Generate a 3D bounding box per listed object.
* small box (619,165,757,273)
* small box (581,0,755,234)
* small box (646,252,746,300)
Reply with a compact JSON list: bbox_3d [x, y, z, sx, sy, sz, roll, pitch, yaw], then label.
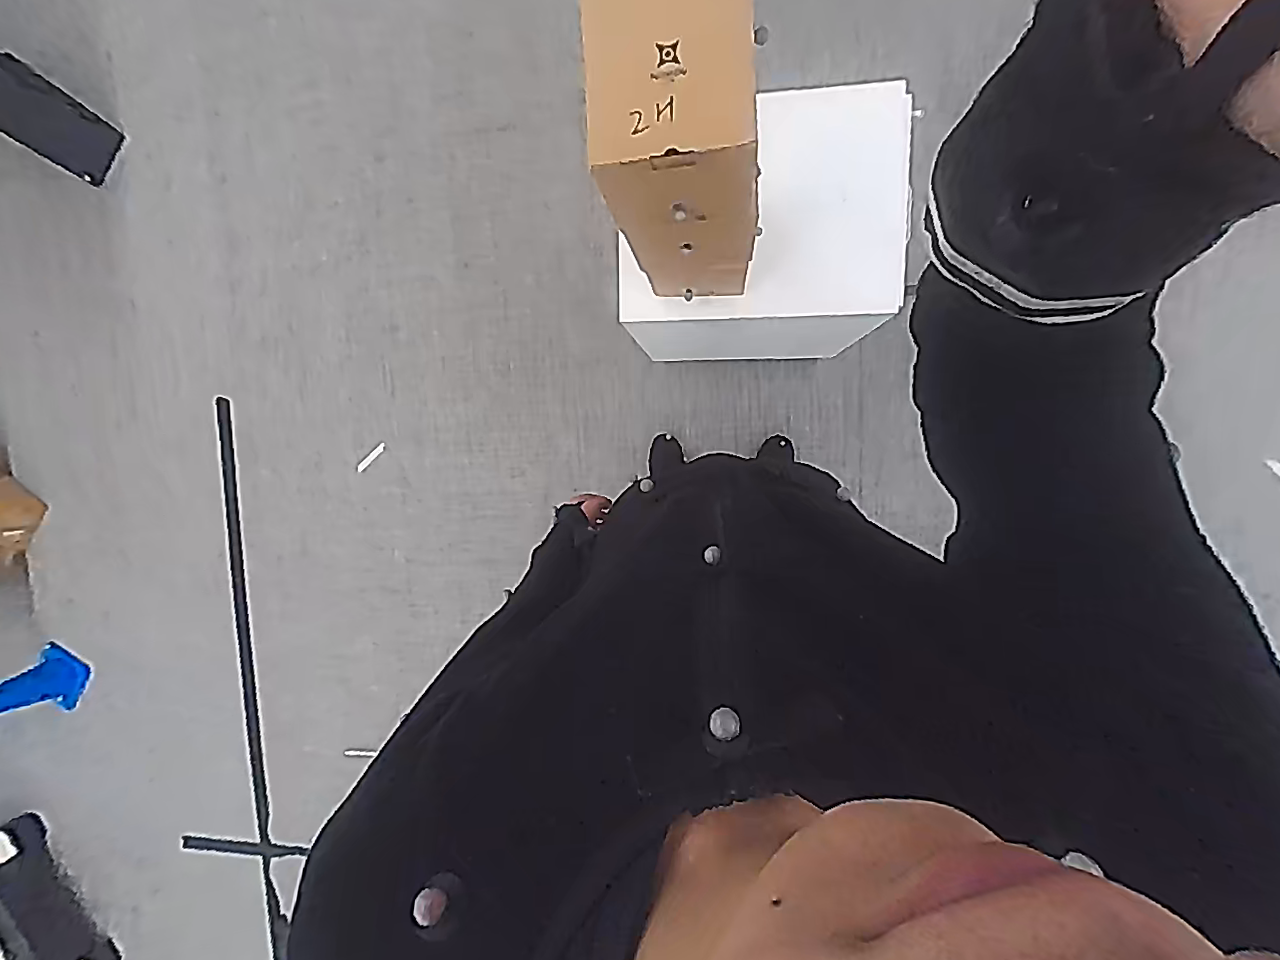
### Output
[{"bbox_3d":[0.067,-0.405,0.759,0.179,0.176,0.168,-3,93,9],"label":"small box"},{"bbox_3d":[0.037,-0.399,0.597,0.168,0.176,0.179,-2,93,9],"label":"small box"},{"bbox_3d":[0.094,-0.417,0.920,0.168,0.176,0.179,1,94,8],"label":"small box"}]
